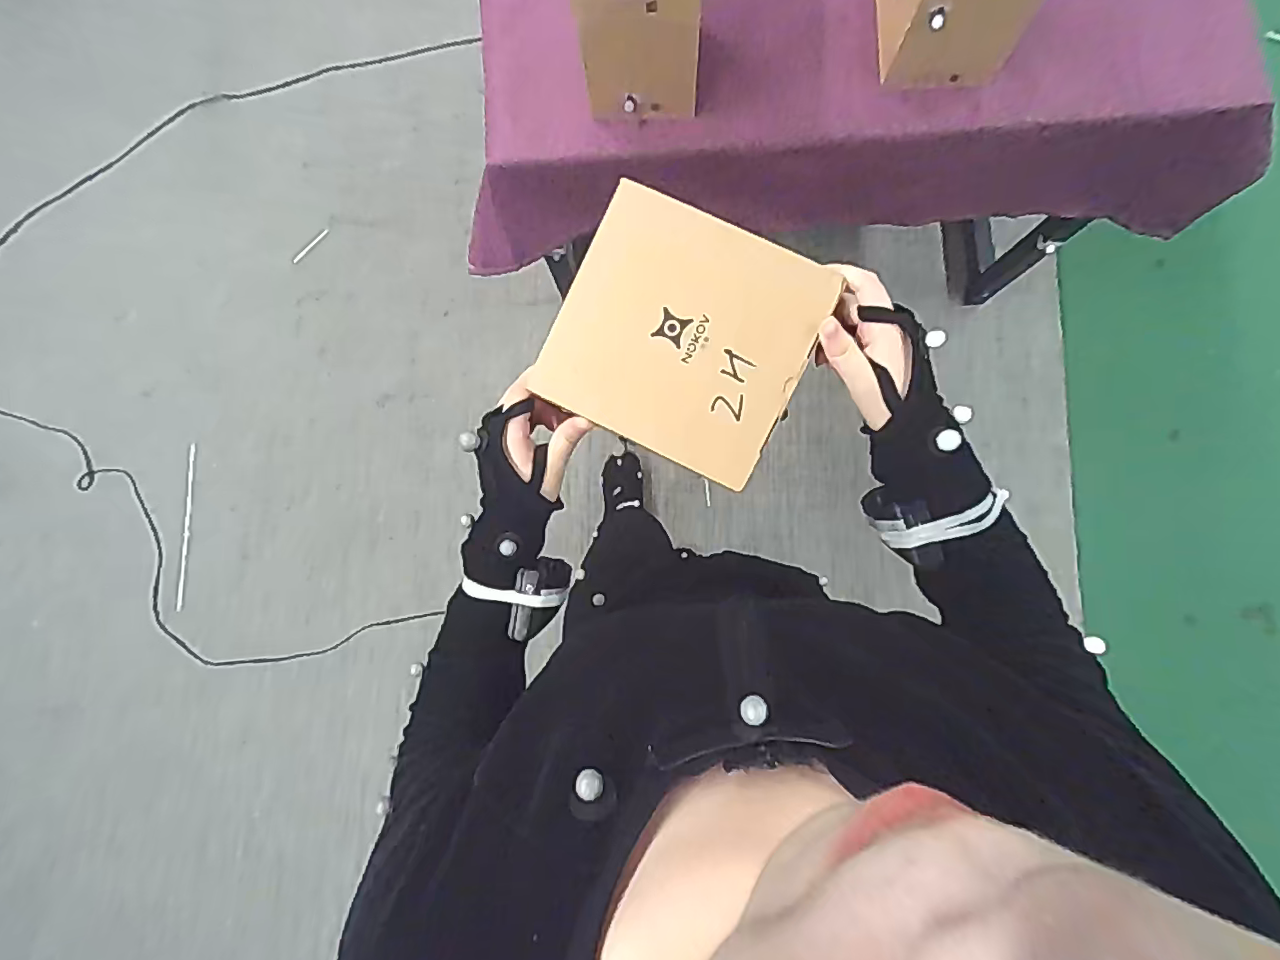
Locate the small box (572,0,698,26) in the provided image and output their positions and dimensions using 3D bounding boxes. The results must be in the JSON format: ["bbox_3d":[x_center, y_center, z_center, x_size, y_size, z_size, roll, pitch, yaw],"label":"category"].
[{"bbox_3d":[-0.009,-0.687,0.633,0.168,0.176,0.179,2,82,5],"label":"small box"}]

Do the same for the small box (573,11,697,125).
[{"bbox_3d":[0.000,-0.667,0.797,0.168,0.176,0.179,2,84,4],"label":"small box"}]

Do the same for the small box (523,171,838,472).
[{"bbox_3d":[0.034,-0.114,0.458,0.179,0.176,0.168,24,95,6],"label":"small box"}]
